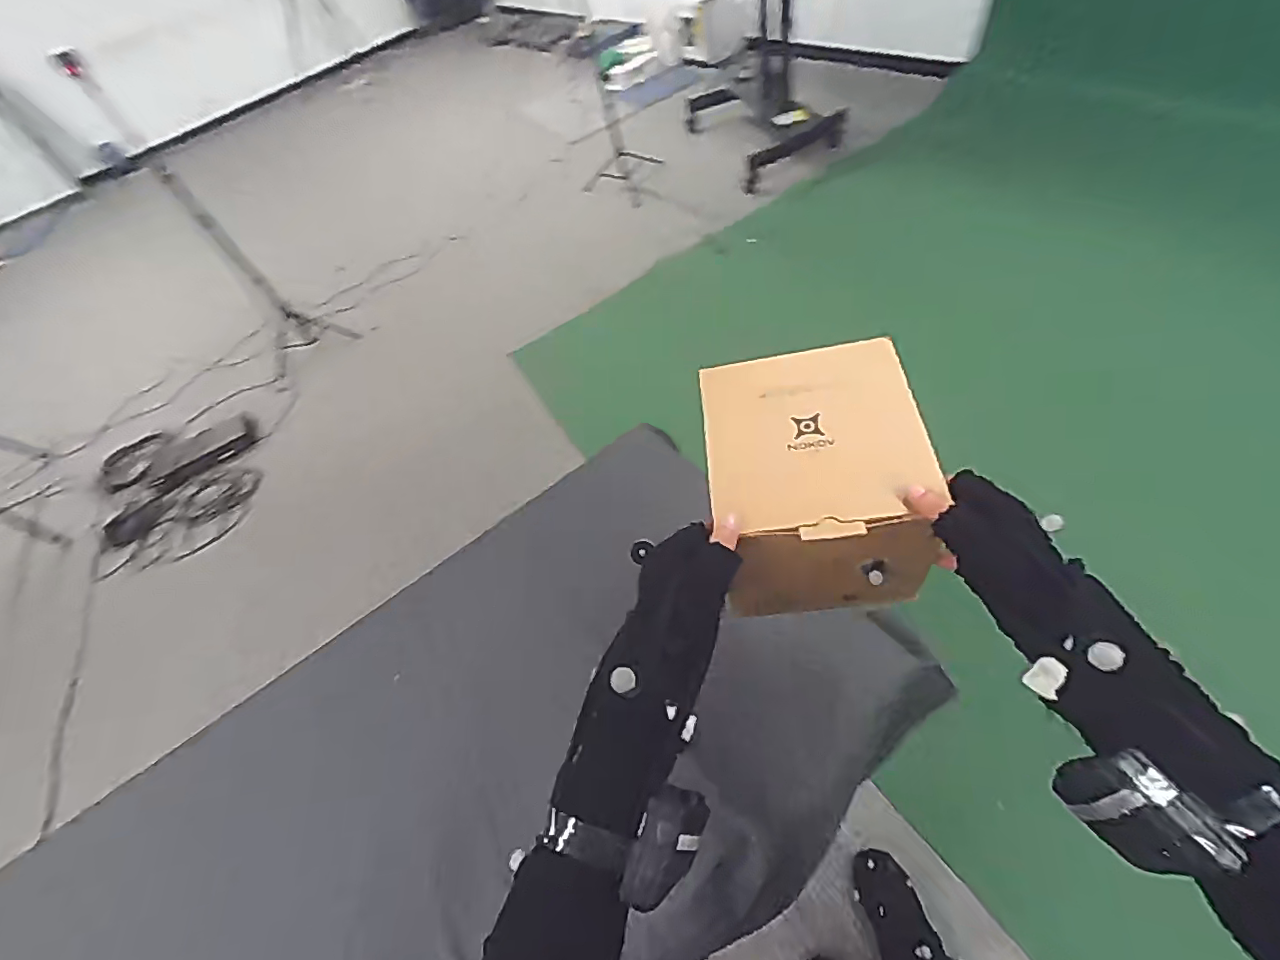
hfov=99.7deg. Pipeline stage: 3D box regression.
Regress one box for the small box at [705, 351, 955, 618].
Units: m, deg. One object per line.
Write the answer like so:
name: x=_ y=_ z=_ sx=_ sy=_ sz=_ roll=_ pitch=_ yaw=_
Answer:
small box: x=0.156 y=0.016 z=0.491 sx=0.168 sy=0.176 sz=0.179 roll=-8 pitch=53 yaw=11
